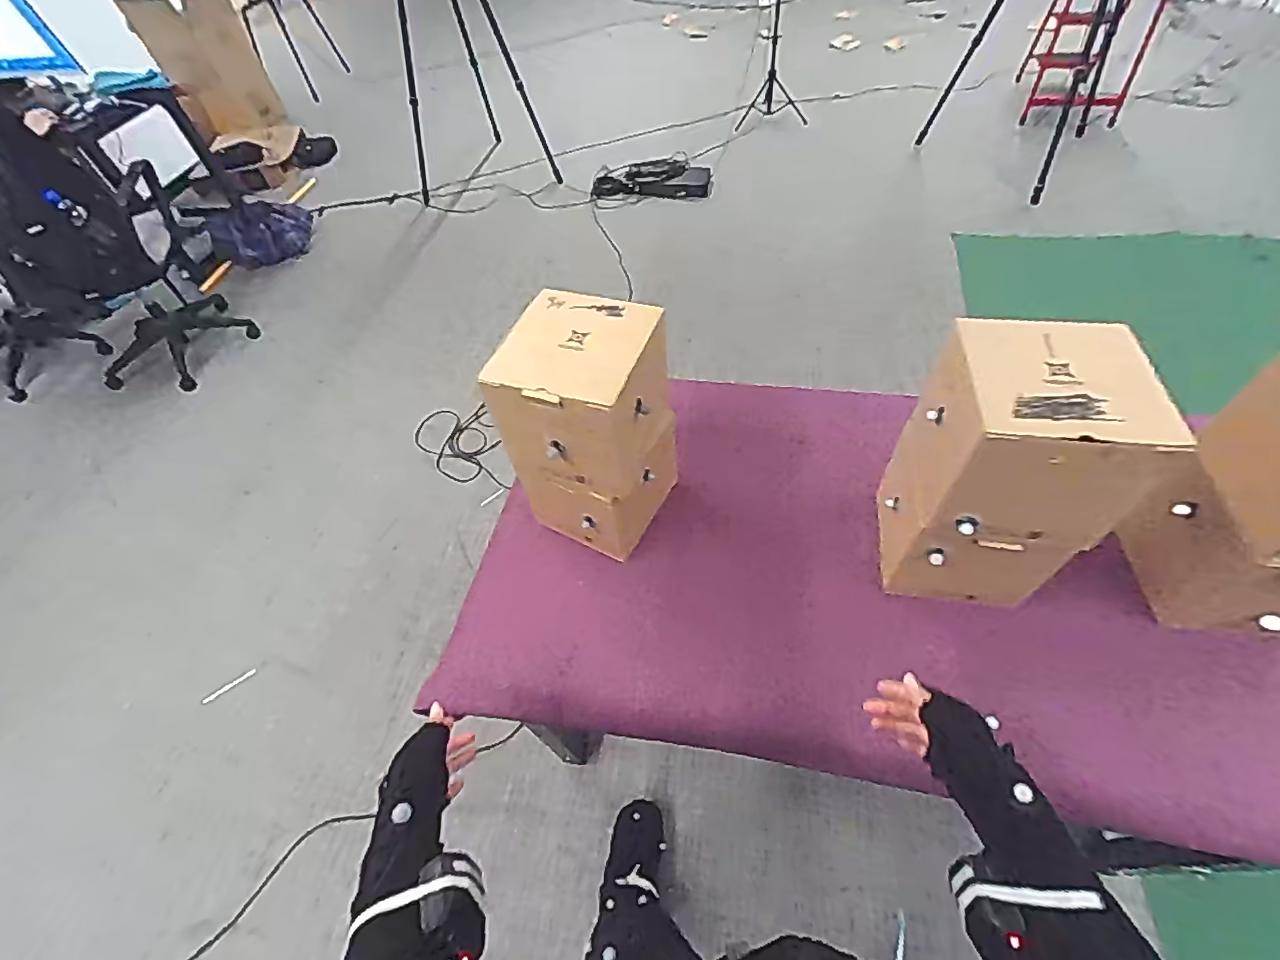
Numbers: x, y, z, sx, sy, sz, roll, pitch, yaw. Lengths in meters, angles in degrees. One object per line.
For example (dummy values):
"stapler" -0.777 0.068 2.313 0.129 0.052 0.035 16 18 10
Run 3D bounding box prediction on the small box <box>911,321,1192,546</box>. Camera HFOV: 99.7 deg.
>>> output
"small box" 0.411 -0.048 0.583 0.168 0.176 0.179 6 52 10

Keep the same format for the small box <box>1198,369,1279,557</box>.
"small box" 0.731 -0.027 0.535 0.168 0.176 0.179 4 54 9

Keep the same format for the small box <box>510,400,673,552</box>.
"small box" -0.058 -0.023 0.801 0.168 0.176 0.179 22 58 21

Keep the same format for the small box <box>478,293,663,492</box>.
"small box" -0.069 -0.107 0.684 0.168 0.176 0.179 11 55 14

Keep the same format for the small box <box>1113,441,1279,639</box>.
"small box" 0.741 0.074 0.662 0.168 0.176 0.179 3 54 9
